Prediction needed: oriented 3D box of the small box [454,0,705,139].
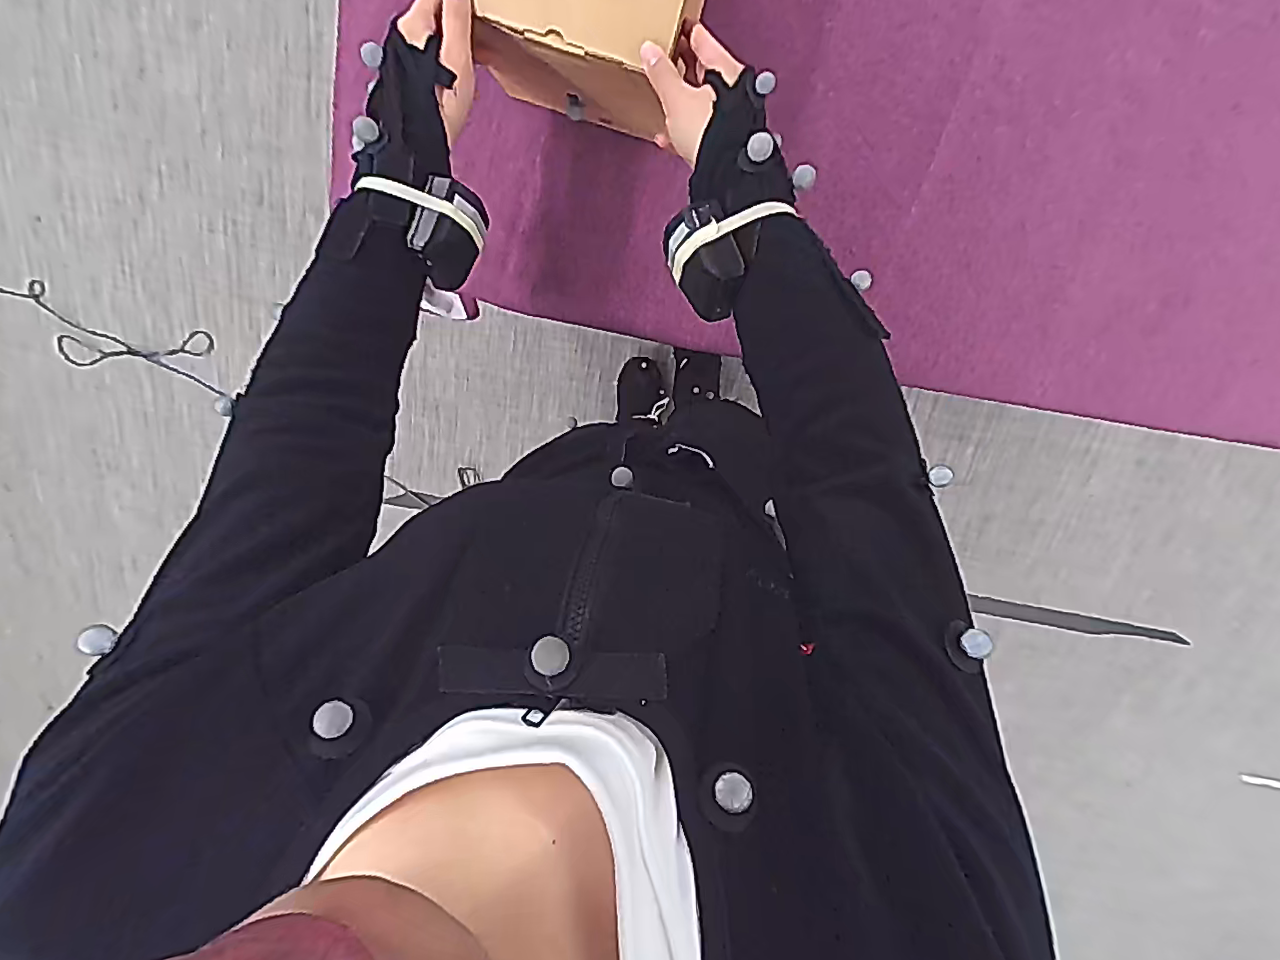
[{"bbox_3d":[-0.032,-0.417,0.437,0.168,0.176,0.179,17,107,-2],"label":"small box"}]
